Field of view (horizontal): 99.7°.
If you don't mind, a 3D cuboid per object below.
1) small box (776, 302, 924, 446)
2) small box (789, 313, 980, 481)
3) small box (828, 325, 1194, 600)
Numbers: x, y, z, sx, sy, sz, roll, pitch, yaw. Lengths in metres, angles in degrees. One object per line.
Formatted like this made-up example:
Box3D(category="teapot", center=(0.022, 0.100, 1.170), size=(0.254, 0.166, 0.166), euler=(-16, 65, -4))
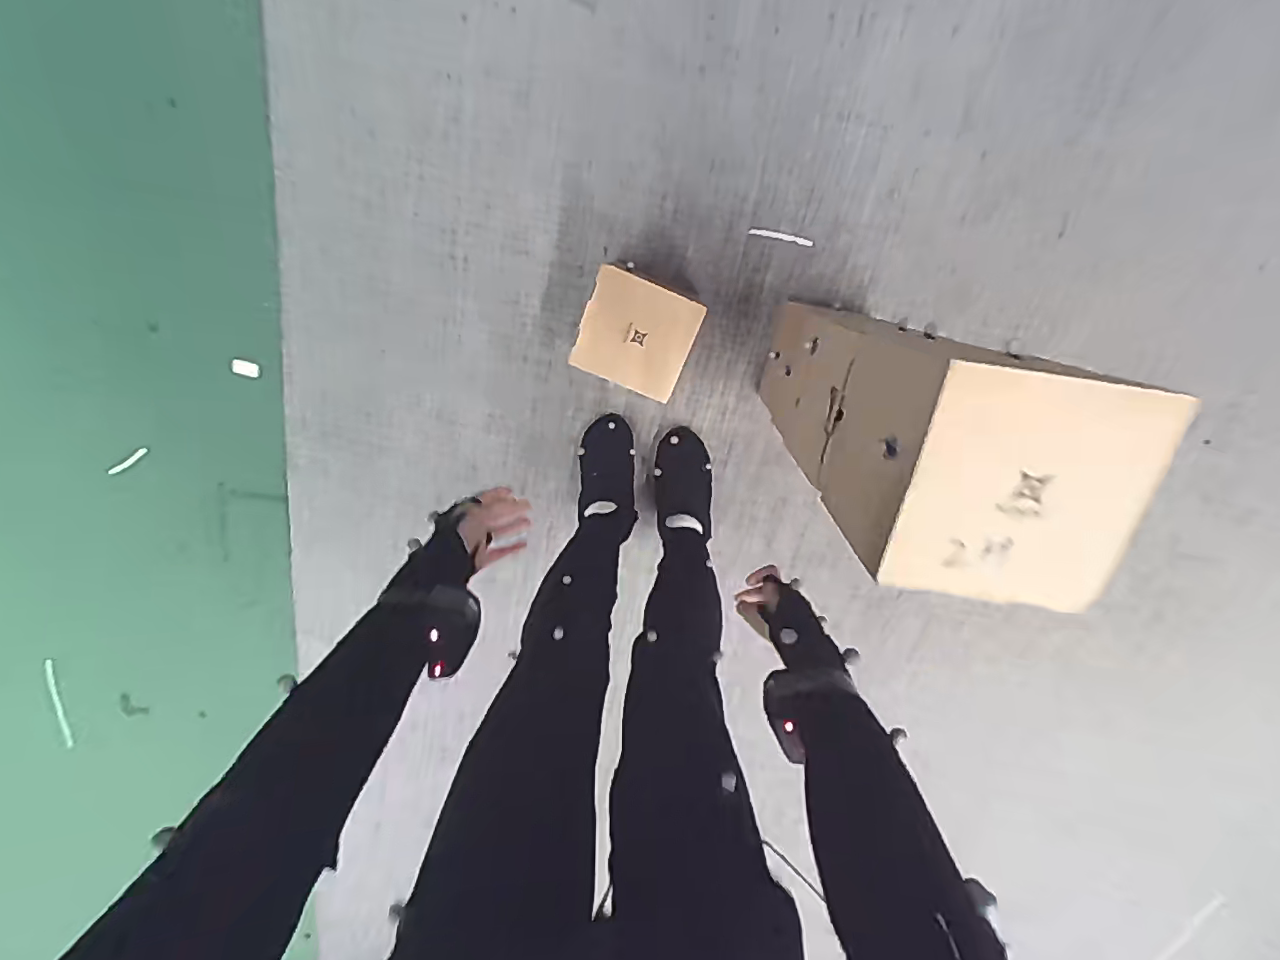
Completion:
Box3D(category="small box", center=(0.299, -0.144, 0.765), size=(0.168, 0.176, 0.179), euler=(9, 113, -1))
Box3D(category="small box", center=(0.283, -0.090, 0.610), size=(0.179, 0.176, 0.168), euler=(9, 112, -1))
Box3D(category="small box", center=(0.275, -0.028, 0.457), size=(0.168, 0.176, 0.179), euler=(9, 112, 1))
